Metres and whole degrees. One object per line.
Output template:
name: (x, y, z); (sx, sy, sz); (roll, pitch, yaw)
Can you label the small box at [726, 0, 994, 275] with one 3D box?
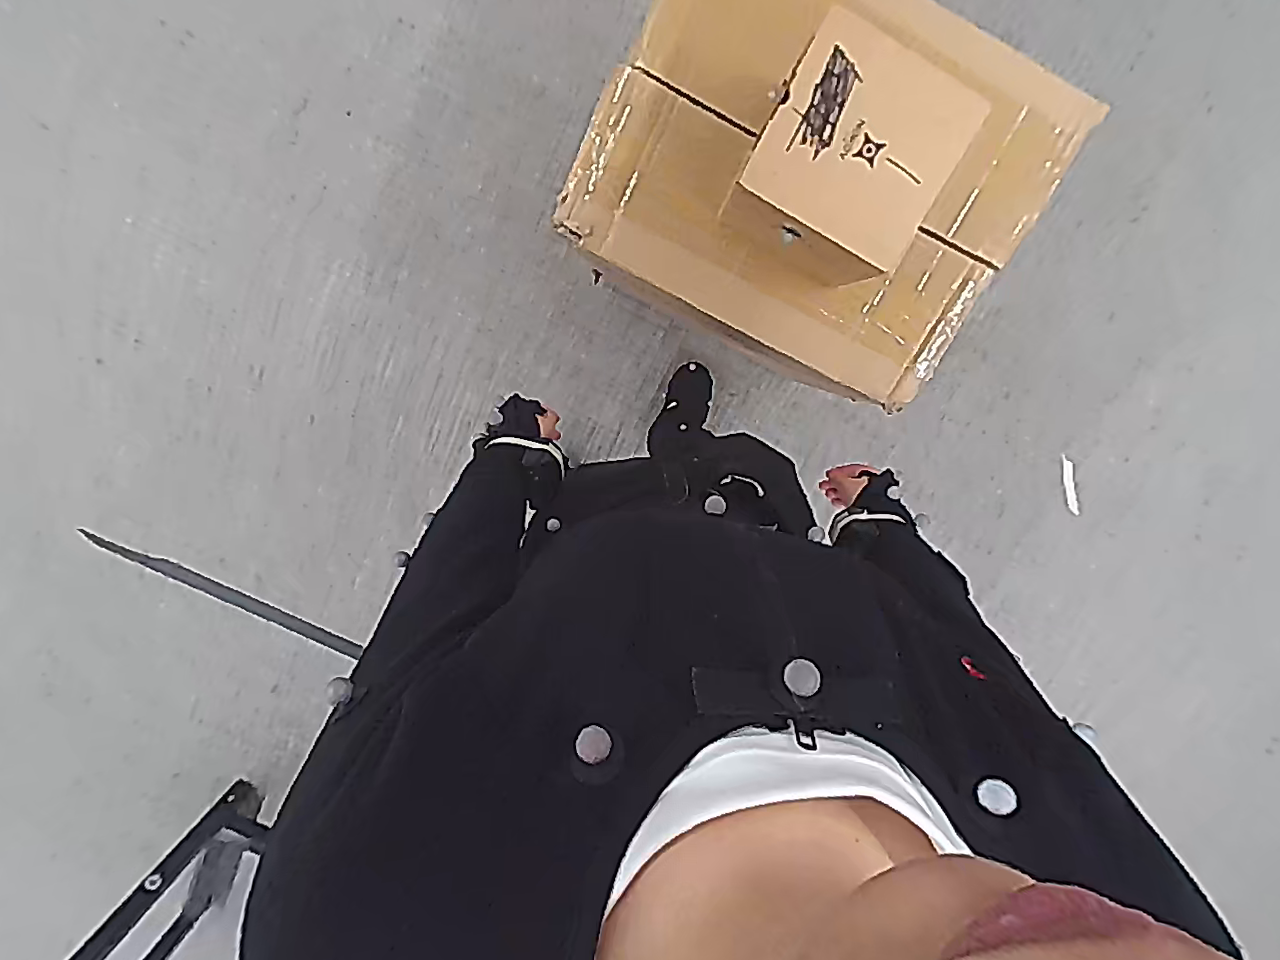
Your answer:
small box: (0.207, -0.335, 0.572); (0.179, 0.176, 0.168); (28, 104, -5)
